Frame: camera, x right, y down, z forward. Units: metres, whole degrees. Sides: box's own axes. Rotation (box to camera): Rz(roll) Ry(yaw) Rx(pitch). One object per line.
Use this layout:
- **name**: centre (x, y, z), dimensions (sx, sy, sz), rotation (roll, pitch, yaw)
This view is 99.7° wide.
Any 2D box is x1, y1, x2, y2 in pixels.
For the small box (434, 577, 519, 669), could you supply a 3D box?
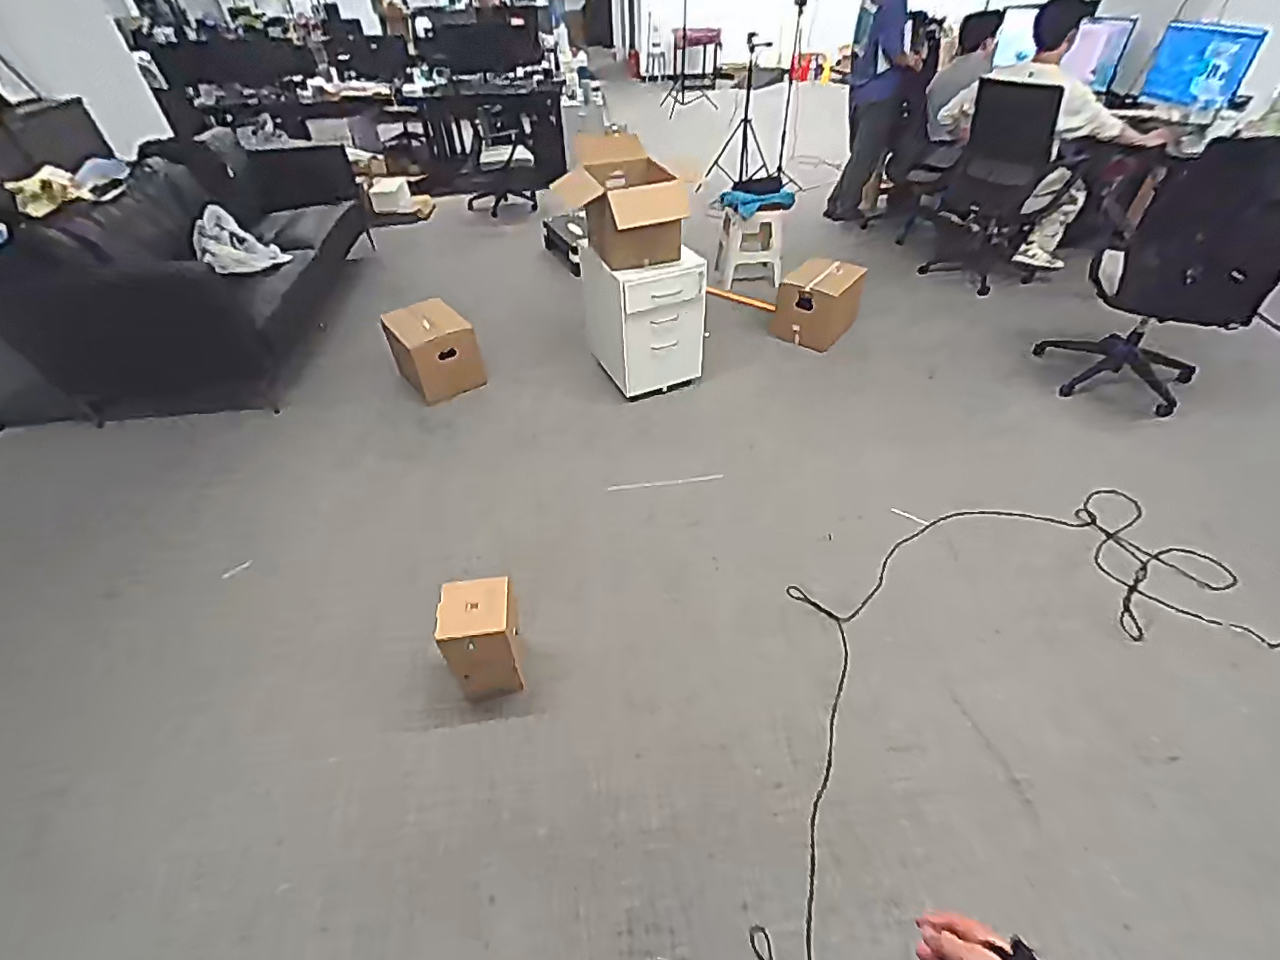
- **small box**: centre (-0.424, 0.382, 1.431), dimensions (0.179, 0.176, 0.168), rotation (-6, 44, -5)
